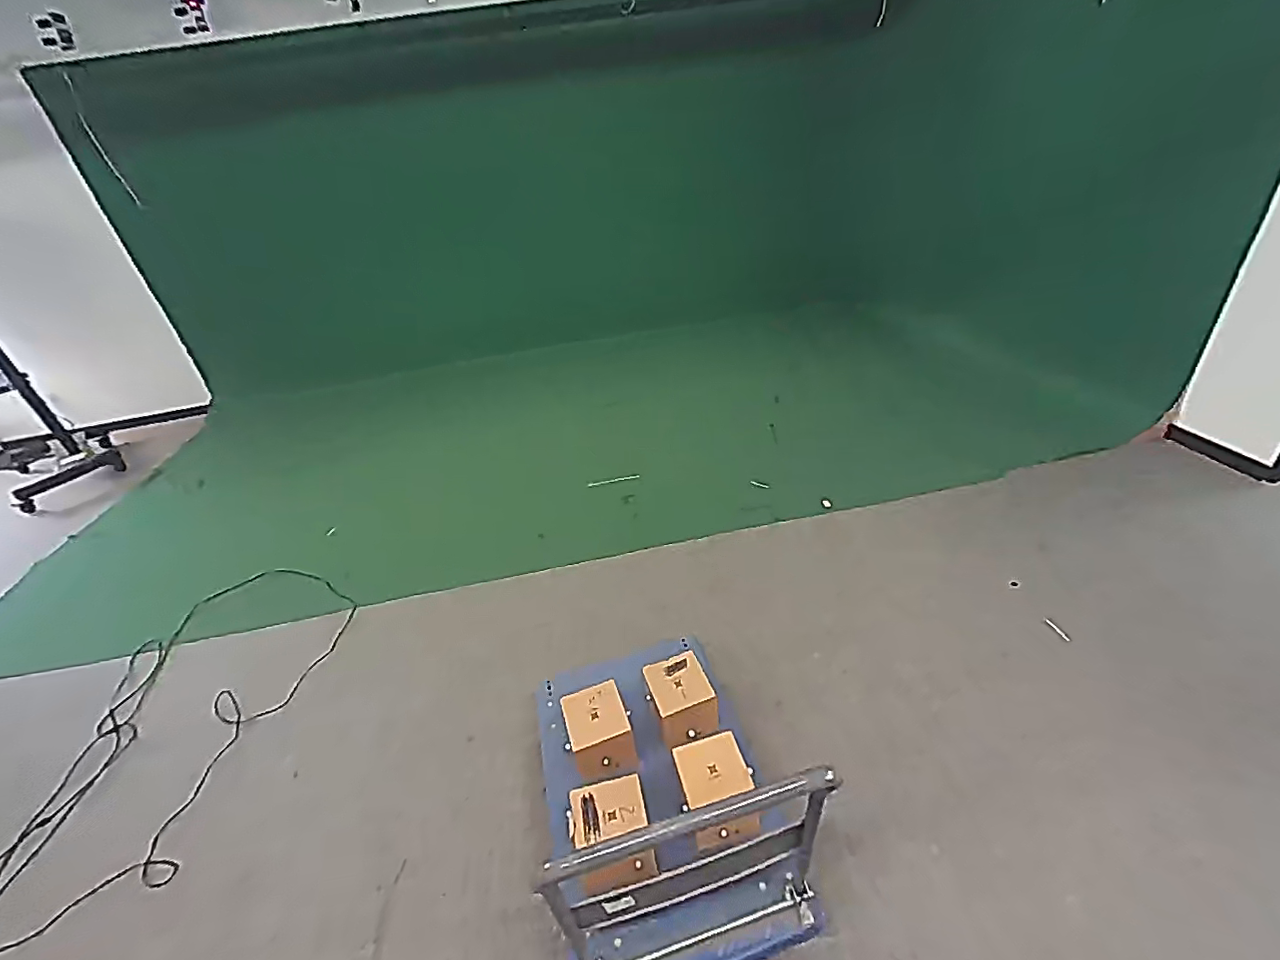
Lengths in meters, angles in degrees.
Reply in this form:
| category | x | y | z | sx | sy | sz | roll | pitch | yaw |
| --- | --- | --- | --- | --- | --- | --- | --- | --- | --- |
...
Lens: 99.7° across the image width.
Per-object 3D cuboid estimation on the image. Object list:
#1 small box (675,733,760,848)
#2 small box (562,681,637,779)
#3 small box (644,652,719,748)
| category | x | y | z | sx | sy | sz | roll | pitch | yaw |
| --- | --- | --- | --- | --- | --- | --- | --- | --- | --- |
| small box | 0.193 | 0.787 | 1.374 | 0.168 | 0.176 | 0.179 | -13 | 34 | -8 |
| small box | -0.114 | 0.718 | 1.541 | 0.168 | 0.176 | 0.179 | -15 | 34 | -12 |
| small box | 0.122 | 0.648 | 1.594 | 0.168 | 0.176 | 0.179 | -17 | 36 | -11 |
